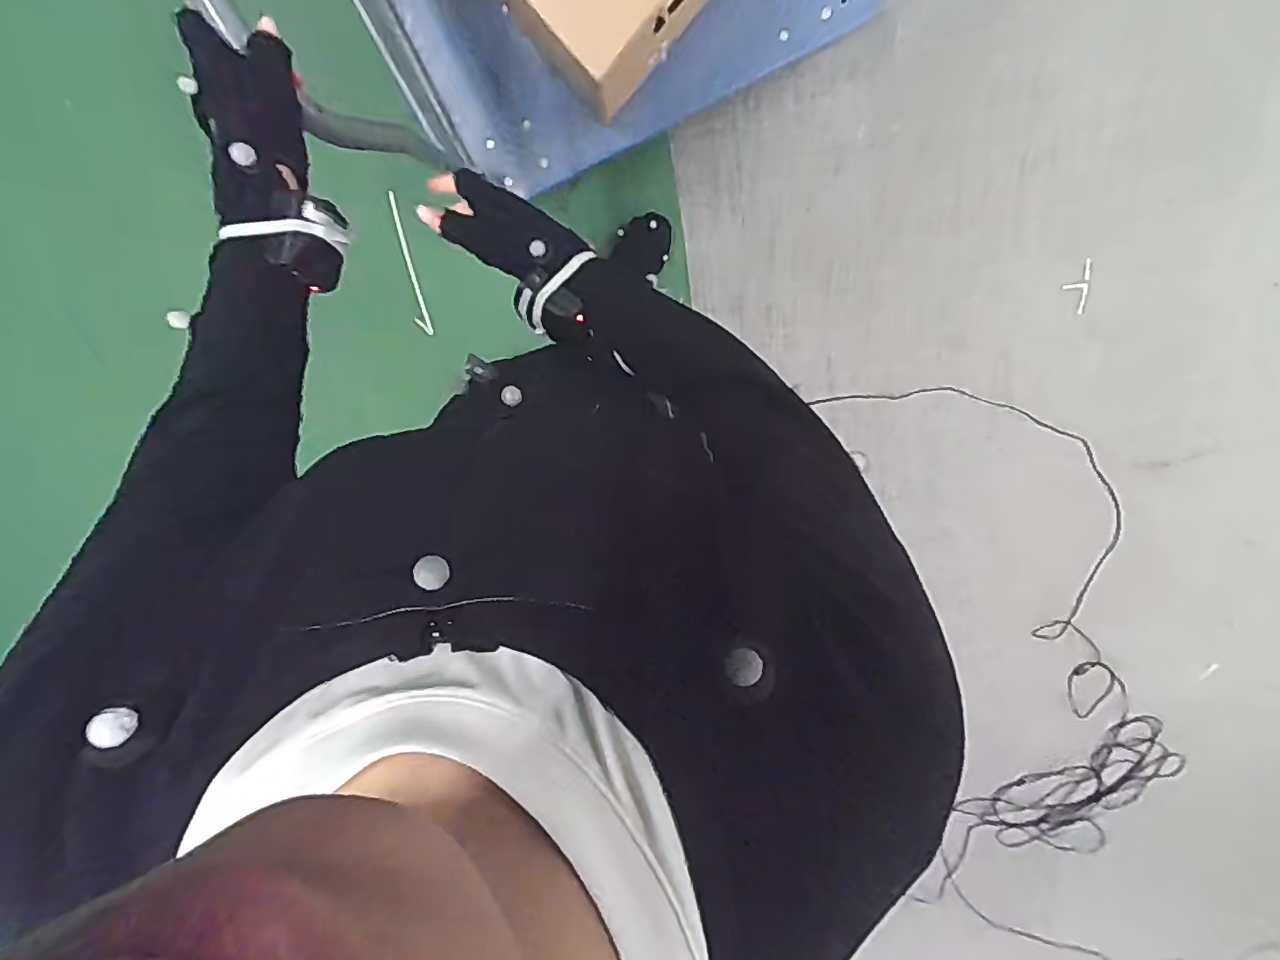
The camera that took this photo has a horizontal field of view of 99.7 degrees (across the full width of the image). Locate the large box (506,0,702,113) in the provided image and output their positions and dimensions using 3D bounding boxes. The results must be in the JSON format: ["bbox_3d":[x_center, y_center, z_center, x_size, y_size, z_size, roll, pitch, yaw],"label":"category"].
[{"bbox_3d":[-0.096,-0.857,0.798,0.320,0.320,0.408,-42,108,16],"label":"large box"}]
